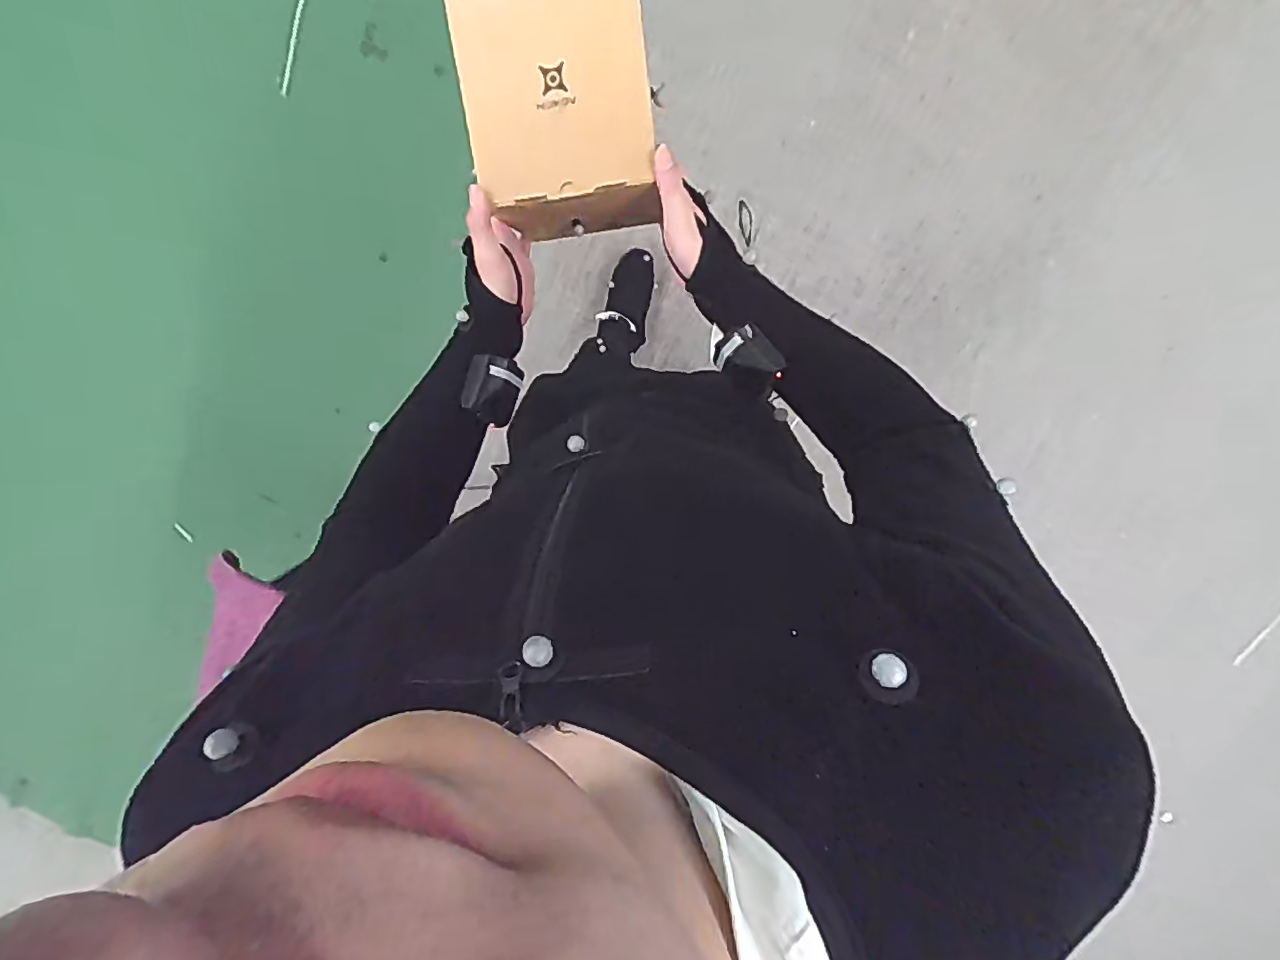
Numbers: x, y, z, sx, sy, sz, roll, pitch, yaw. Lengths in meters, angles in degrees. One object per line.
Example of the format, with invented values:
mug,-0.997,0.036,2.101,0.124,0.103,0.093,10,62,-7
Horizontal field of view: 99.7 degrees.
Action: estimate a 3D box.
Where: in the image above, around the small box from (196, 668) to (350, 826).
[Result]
small box,-0.694,0.504,1.037,0.168,0.176,0.179,27,109,-3
